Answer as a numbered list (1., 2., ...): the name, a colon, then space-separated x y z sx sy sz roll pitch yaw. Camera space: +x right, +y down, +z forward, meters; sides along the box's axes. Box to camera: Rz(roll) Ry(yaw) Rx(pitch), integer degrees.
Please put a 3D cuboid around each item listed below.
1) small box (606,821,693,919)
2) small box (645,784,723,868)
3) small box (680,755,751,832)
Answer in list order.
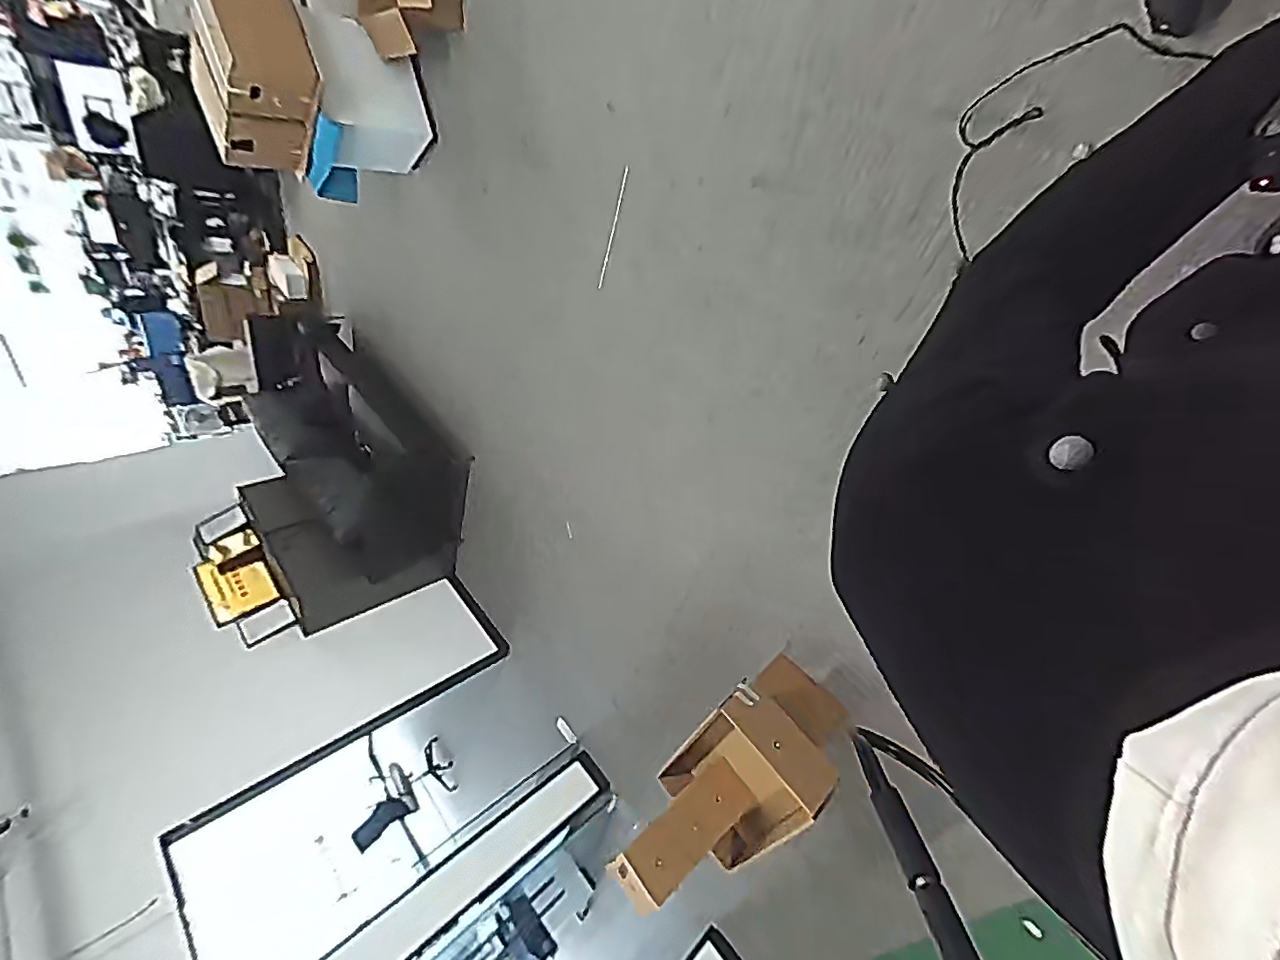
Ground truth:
1. small box: 0.029 1.202 1.682 0.179 0.176 0.168 45 132 23
2. small box: 0.143 1.158 1.793 0.179 0.176 0.168 45 132 22
3. small box: 0.258 1.112 1.900 0.179 0.176 0.168 47 133 23
